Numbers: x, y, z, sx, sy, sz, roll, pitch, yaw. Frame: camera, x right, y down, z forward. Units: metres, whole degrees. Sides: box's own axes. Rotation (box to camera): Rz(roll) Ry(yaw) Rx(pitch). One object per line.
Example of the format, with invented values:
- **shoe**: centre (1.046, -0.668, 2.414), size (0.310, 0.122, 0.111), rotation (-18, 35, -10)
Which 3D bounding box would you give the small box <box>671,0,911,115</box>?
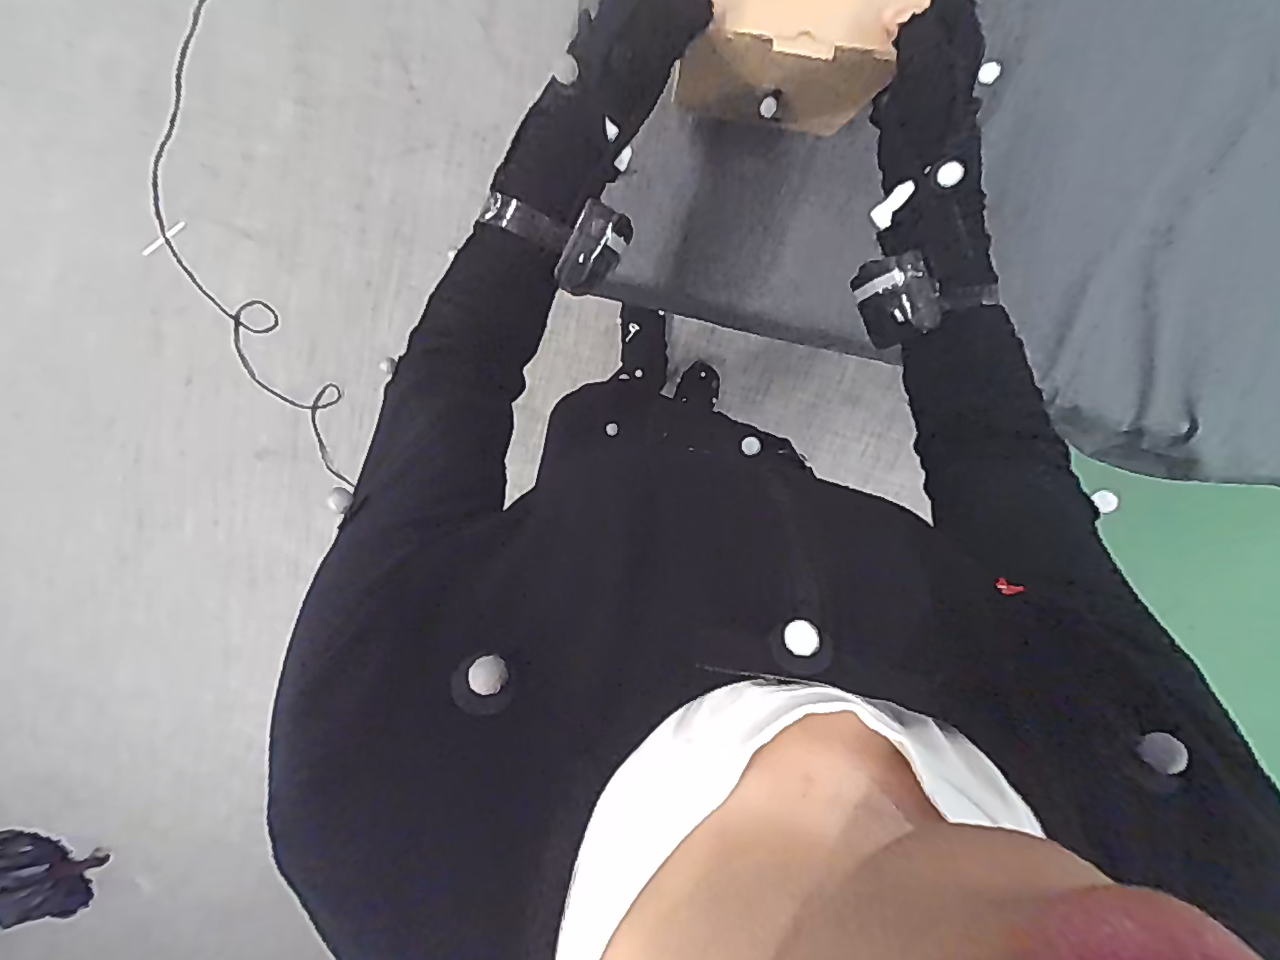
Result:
- **small box**: centre (0.118, -0.423, 0.436), size (0.168, 0.176, 0.179), rotation (6, 108, -2)
